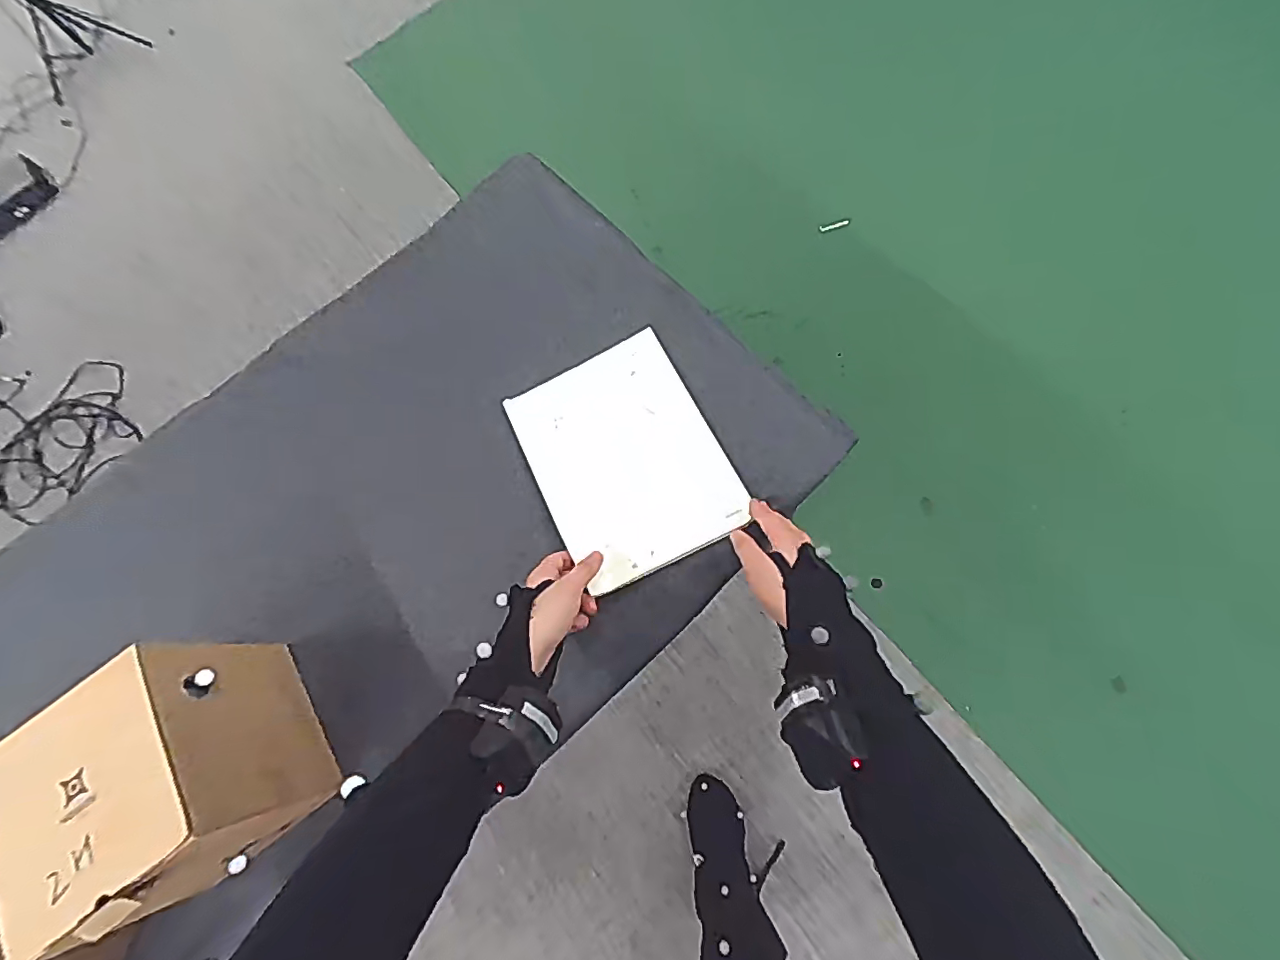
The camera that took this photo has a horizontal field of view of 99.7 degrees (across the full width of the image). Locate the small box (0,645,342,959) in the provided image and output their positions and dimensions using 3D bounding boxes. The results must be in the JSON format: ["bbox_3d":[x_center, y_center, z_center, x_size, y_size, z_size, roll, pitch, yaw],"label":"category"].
[{"bbox_3d":[-0.429,0.277,0.509,0.168,0.176,0.179,-38,71,-2],"label":"small box"}]
